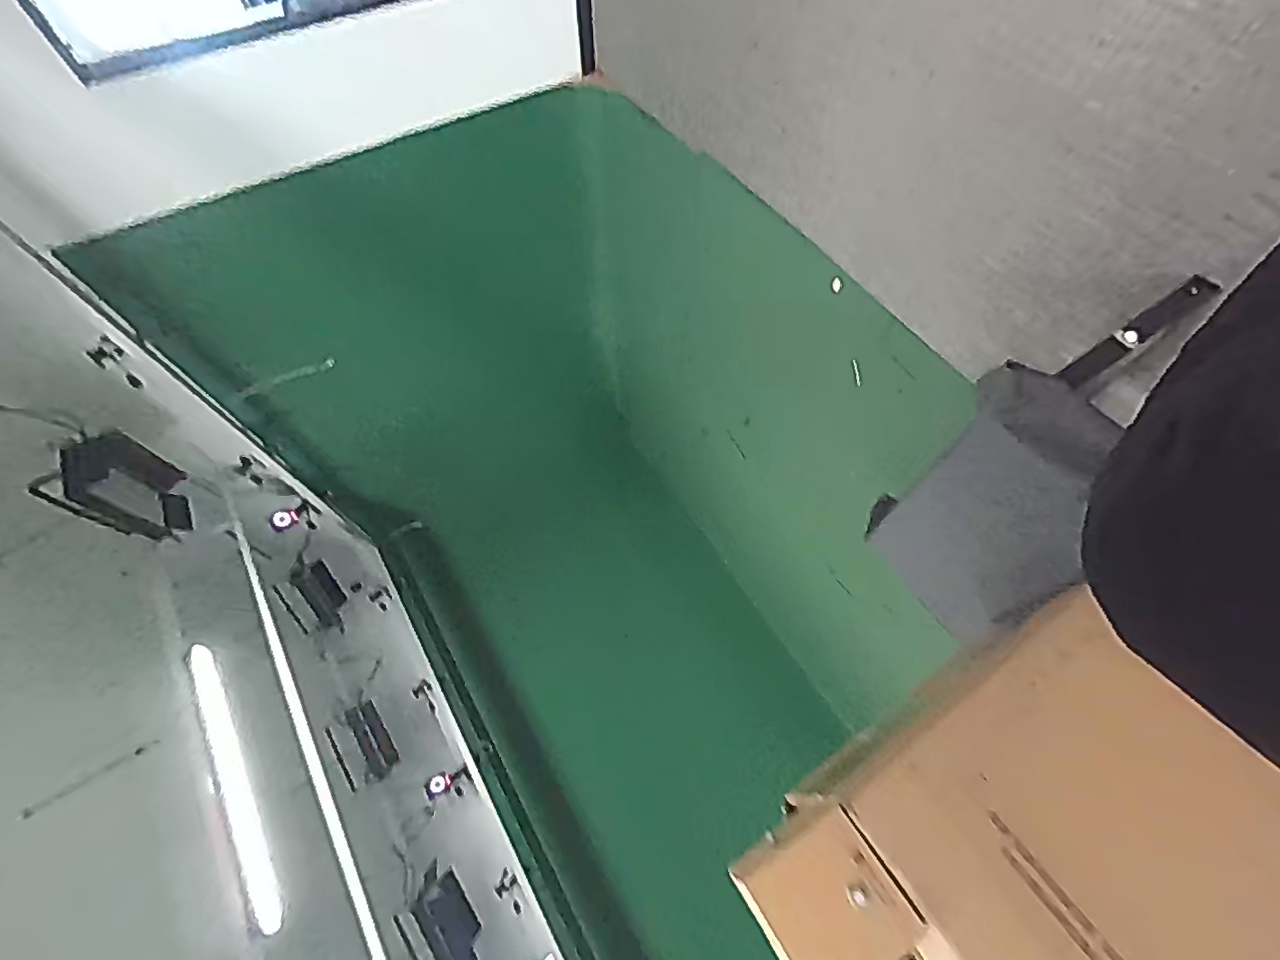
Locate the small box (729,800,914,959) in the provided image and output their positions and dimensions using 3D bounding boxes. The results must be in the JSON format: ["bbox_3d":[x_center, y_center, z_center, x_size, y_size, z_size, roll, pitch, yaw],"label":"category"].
[{"bbox_3d":[0.250,0.586,0.773,0.168,0.176,0.179,54,163,27],"label":"small box"}]
